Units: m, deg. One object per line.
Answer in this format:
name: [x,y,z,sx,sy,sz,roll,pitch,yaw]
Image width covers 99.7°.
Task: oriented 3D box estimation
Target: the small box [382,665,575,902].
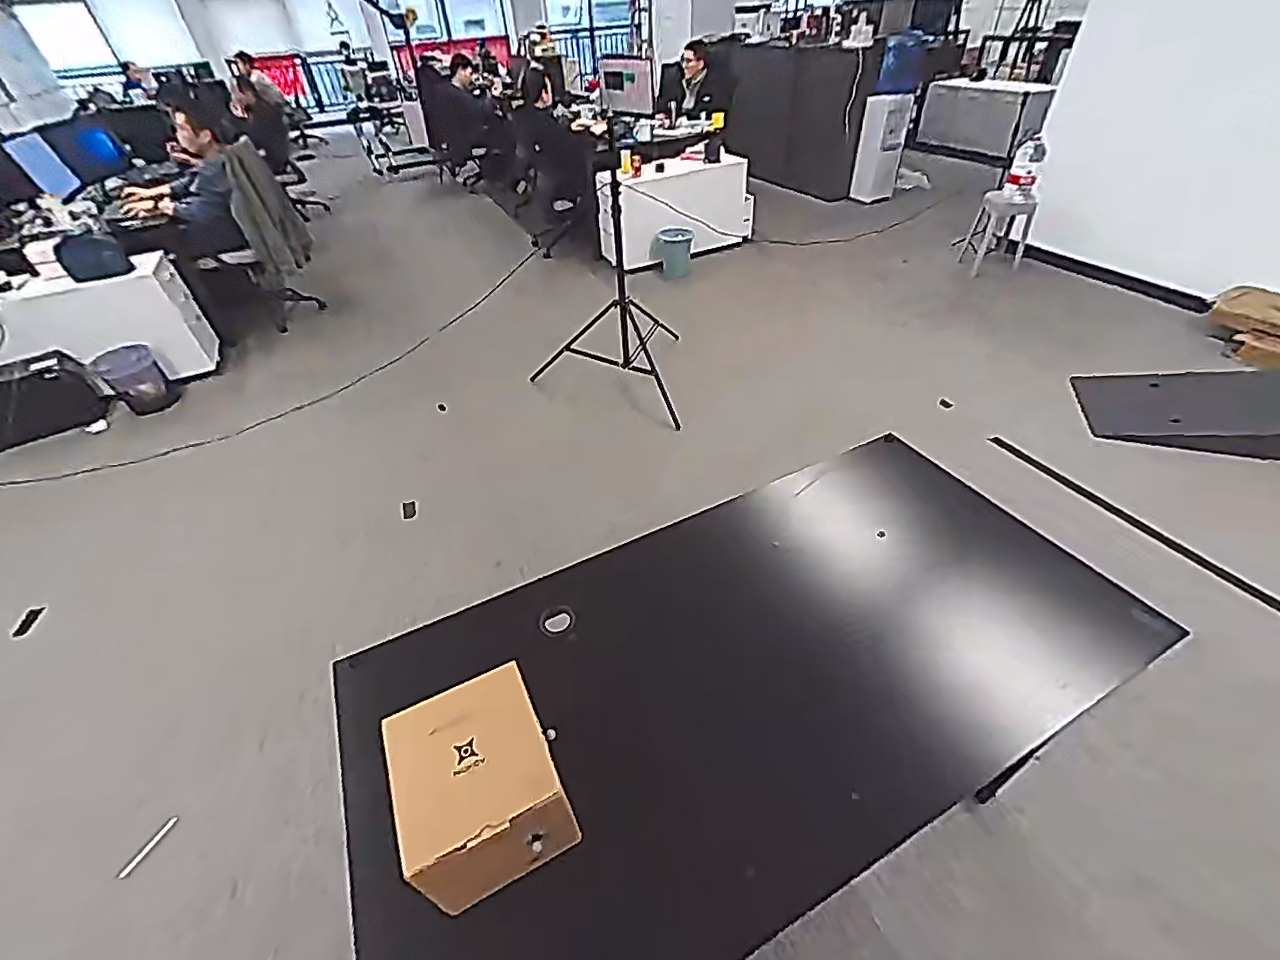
small box: [-0.189,0.368,0.655,0.168,0.176,0.179,-20,43,-19]
